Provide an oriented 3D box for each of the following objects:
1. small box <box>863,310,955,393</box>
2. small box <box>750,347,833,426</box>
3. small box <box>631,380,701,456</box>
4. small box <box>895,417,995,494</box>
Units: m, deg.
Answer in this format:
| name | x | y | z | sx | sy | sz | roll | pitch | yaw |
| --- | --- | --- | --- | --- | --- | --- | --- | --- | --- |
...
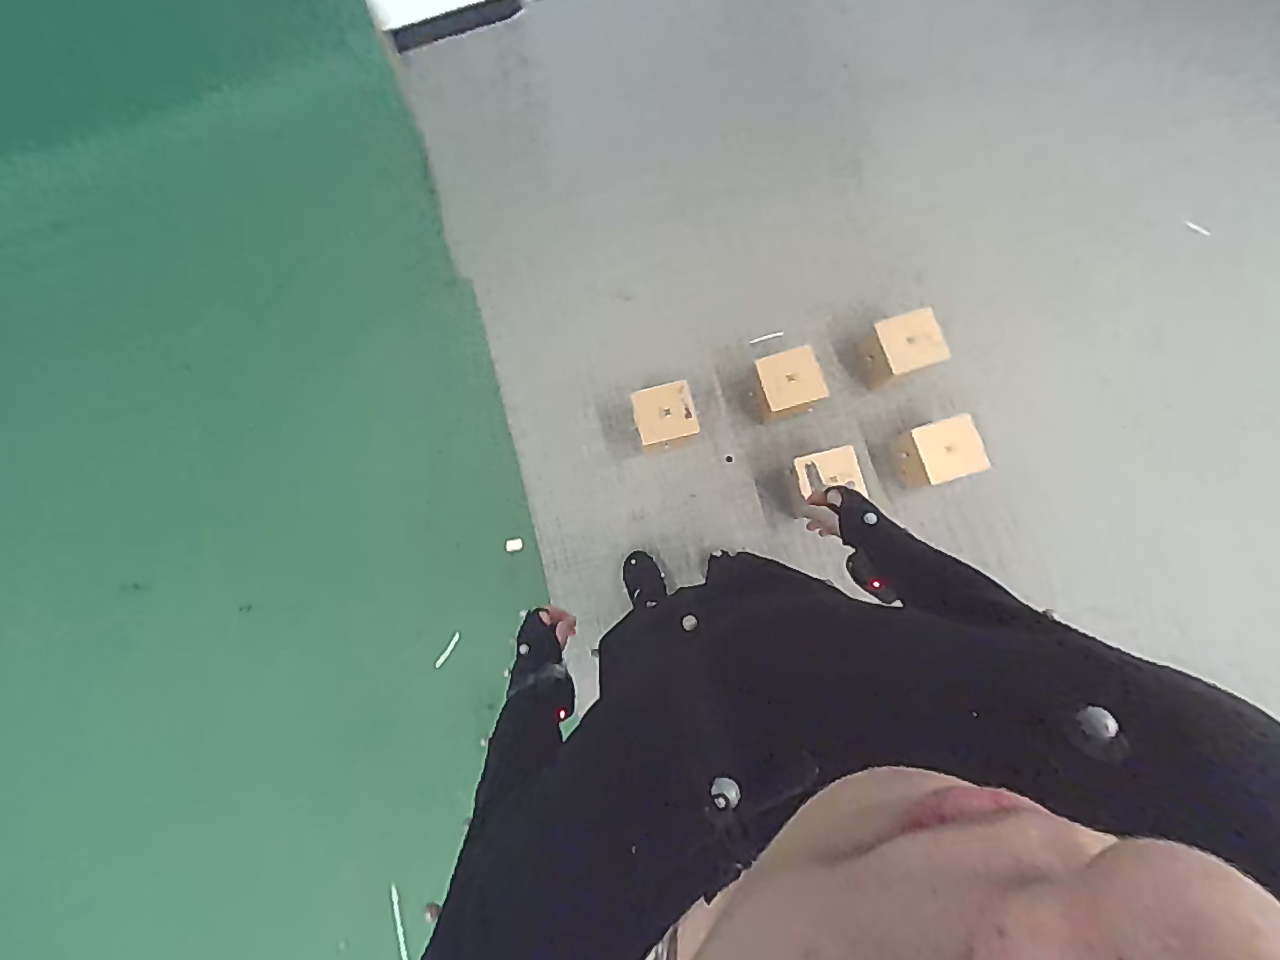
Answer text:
| name | x | y | z | sx | sy | sz | roll | pitch | yaw |
| --- | --- | --- | --- | --- | --- | --- | --- | --- | --- |
| small box | 0.789 | -0.376 | 1.613 | 0.179 | 0.176 | 0.168 | -16 | 82 | 0 |
| small box | 0.446 | -0.274 | 1.616 | 0.179 | 0.176 | 0.168 | -15 | 81 | 1 |
| small box | 0.080 | -0.179 | 1.619 | 0.179 | 0.176 | 0.168 | -13 | 82 | 1 |
| small box | 0.869 | -0.065 | 1.567 | 0.179 | 0.176 | 0.168 | -16 | 81 | -1 |
